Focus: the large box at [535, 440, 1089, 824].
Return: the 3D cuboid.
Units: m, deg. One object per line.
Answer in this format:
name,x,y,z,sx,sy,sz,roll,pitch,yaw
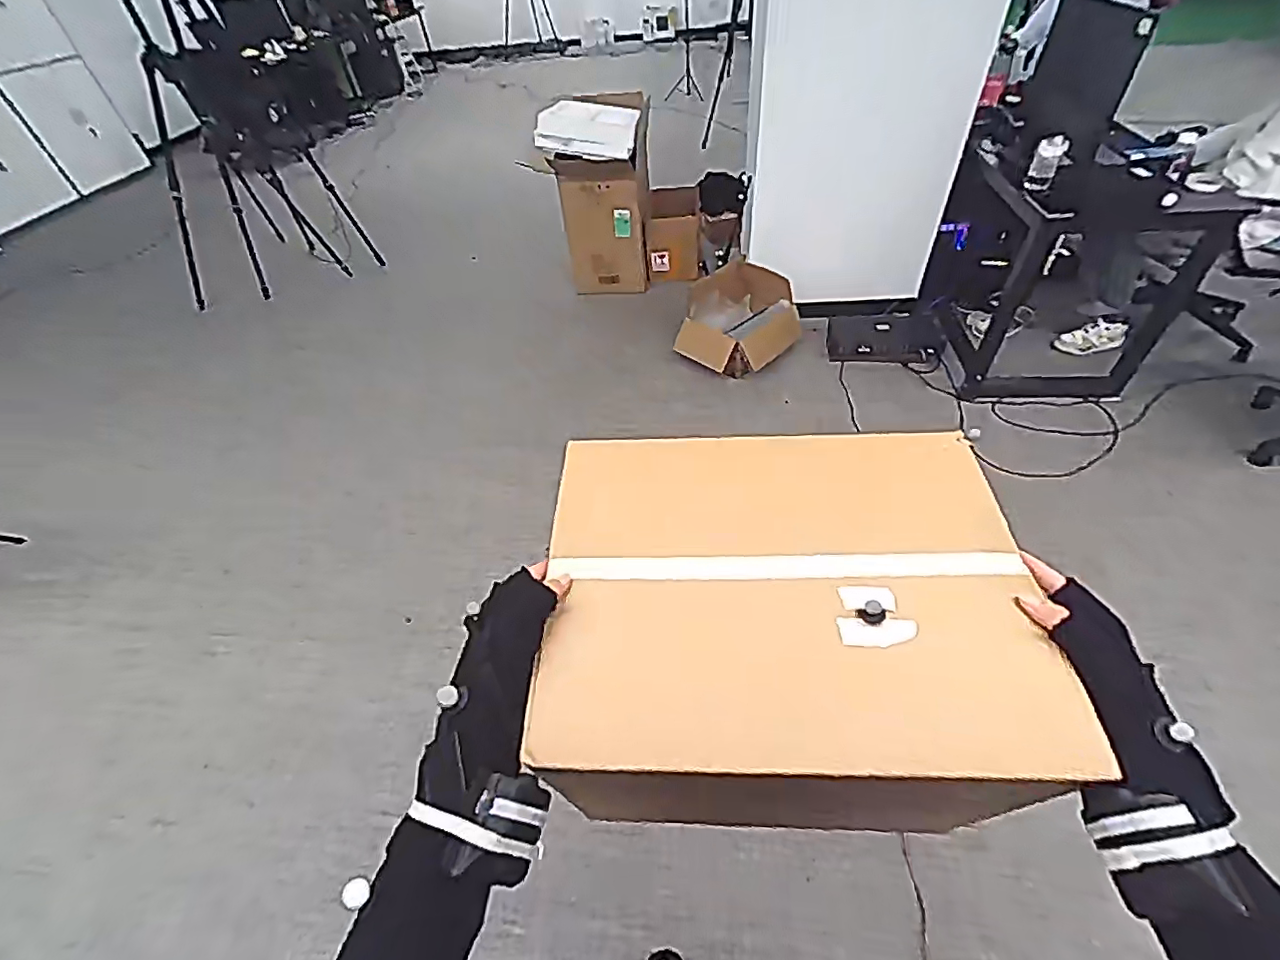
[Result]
large box,0.130,0.176,0.596,0.408,0.320,0.320,-1,51,4
